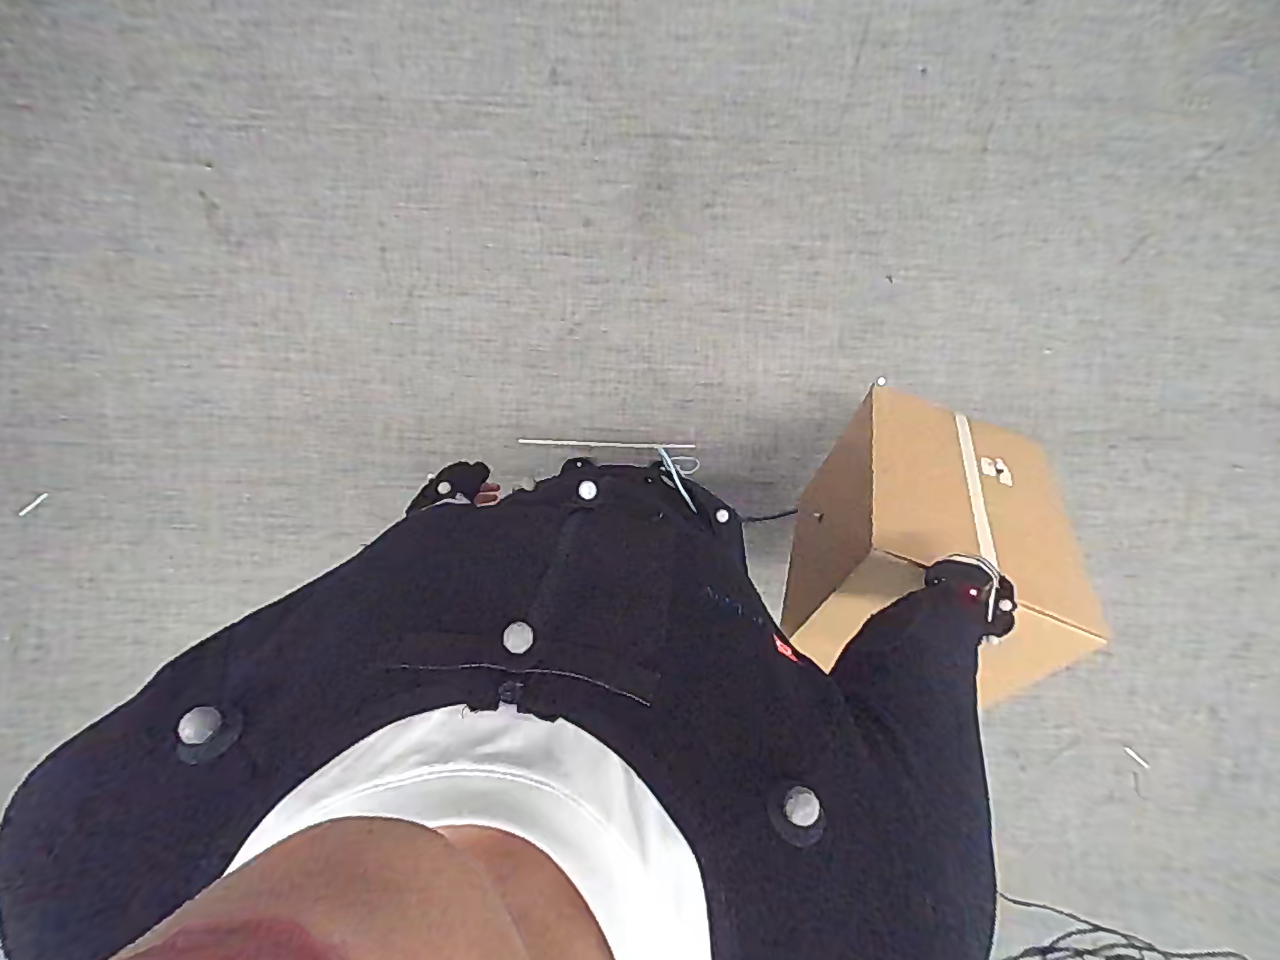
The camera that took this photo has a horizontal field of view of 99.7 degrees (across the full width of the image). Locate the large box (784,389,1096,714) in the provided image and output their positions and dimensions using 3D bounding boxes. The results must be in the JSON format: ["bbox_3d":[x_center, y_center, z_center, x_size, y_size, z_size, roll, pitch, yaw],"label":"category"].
[{"bbox_3d":[0.467,0.116,0.940,0.320,0.408,0.320,22,135,3],"label":"large box"}]
